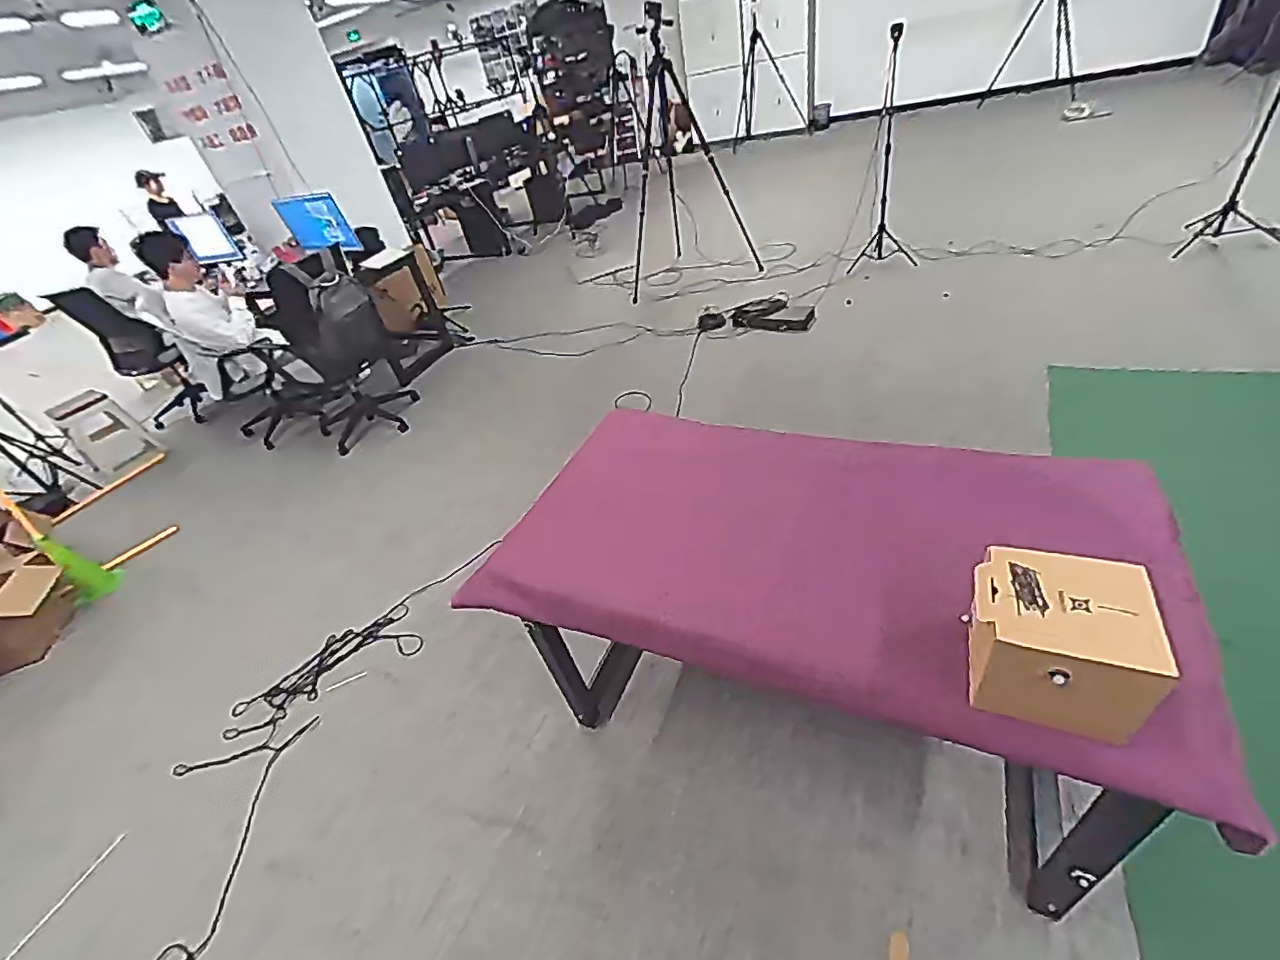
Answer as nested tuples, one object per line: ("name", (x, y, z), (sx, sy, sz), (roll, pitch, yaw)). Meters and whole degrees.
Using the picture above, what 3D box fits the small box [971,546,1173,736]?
("small box", (0.561, 0.216, 0.735), (0.179, 0.176, 0.168), (7, 44, 25))
